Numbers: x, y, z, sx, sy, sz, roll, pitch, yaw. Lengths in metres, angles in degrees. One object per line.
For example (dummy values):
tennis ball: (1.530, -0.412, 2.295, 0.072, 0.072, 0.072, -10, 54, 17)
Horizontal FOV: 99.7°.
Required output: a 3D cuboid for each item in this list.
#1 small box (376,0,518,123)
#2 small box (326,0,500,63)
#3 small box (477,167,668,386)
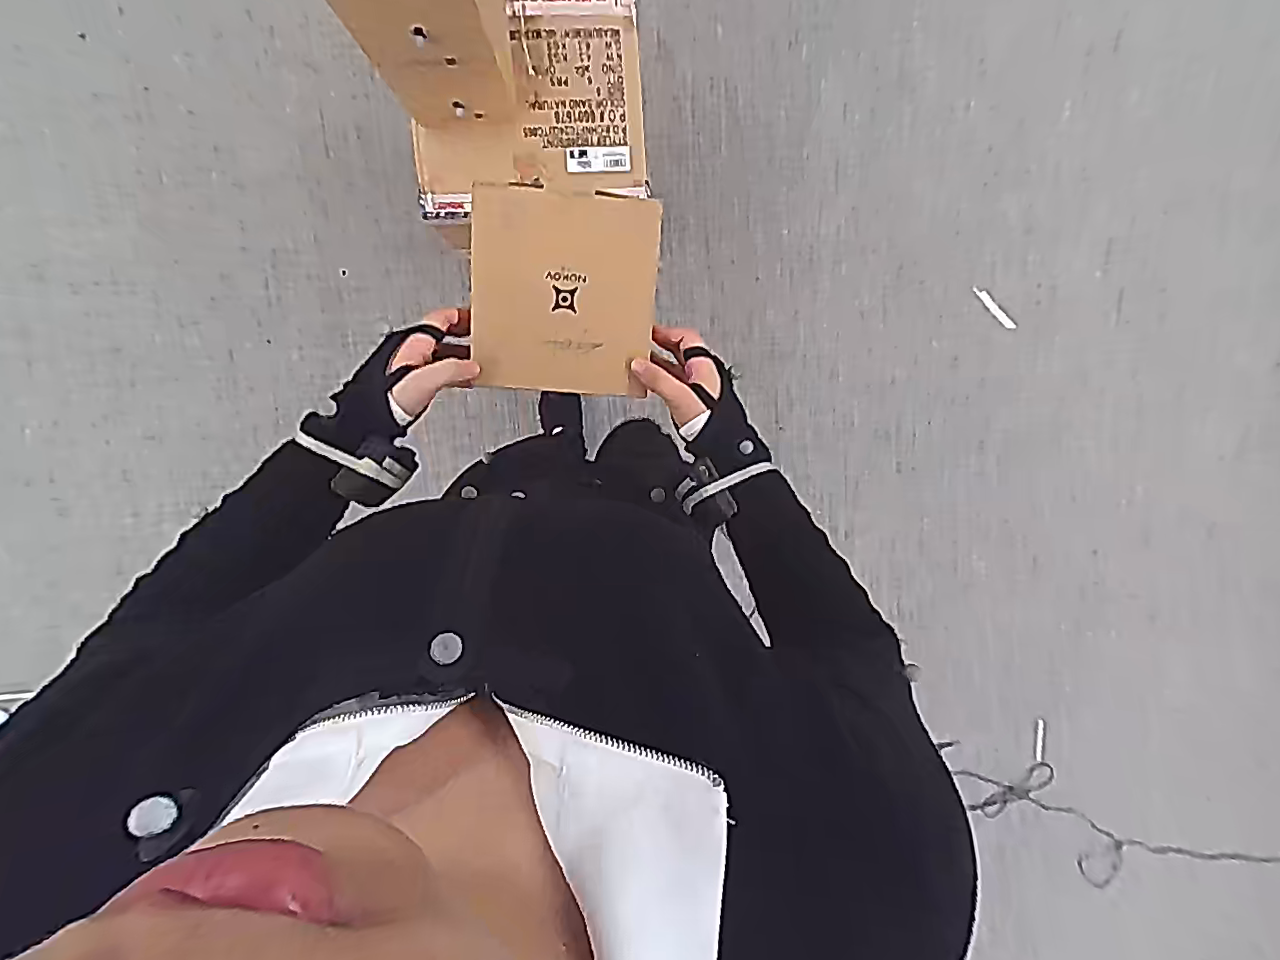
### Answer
small box: (-0.283, -0.663, 0.795, 0.168, 0.176, 0.179, -5, 101, -1)
small box: (-0.269, -0.625, 0.636, 0.168, 0.176, 0.179, -4, 101, -2)
small box: (-0.071, -0.198, 0.564, 0.168, 0.176, 0.179, 3, 105, -6)
